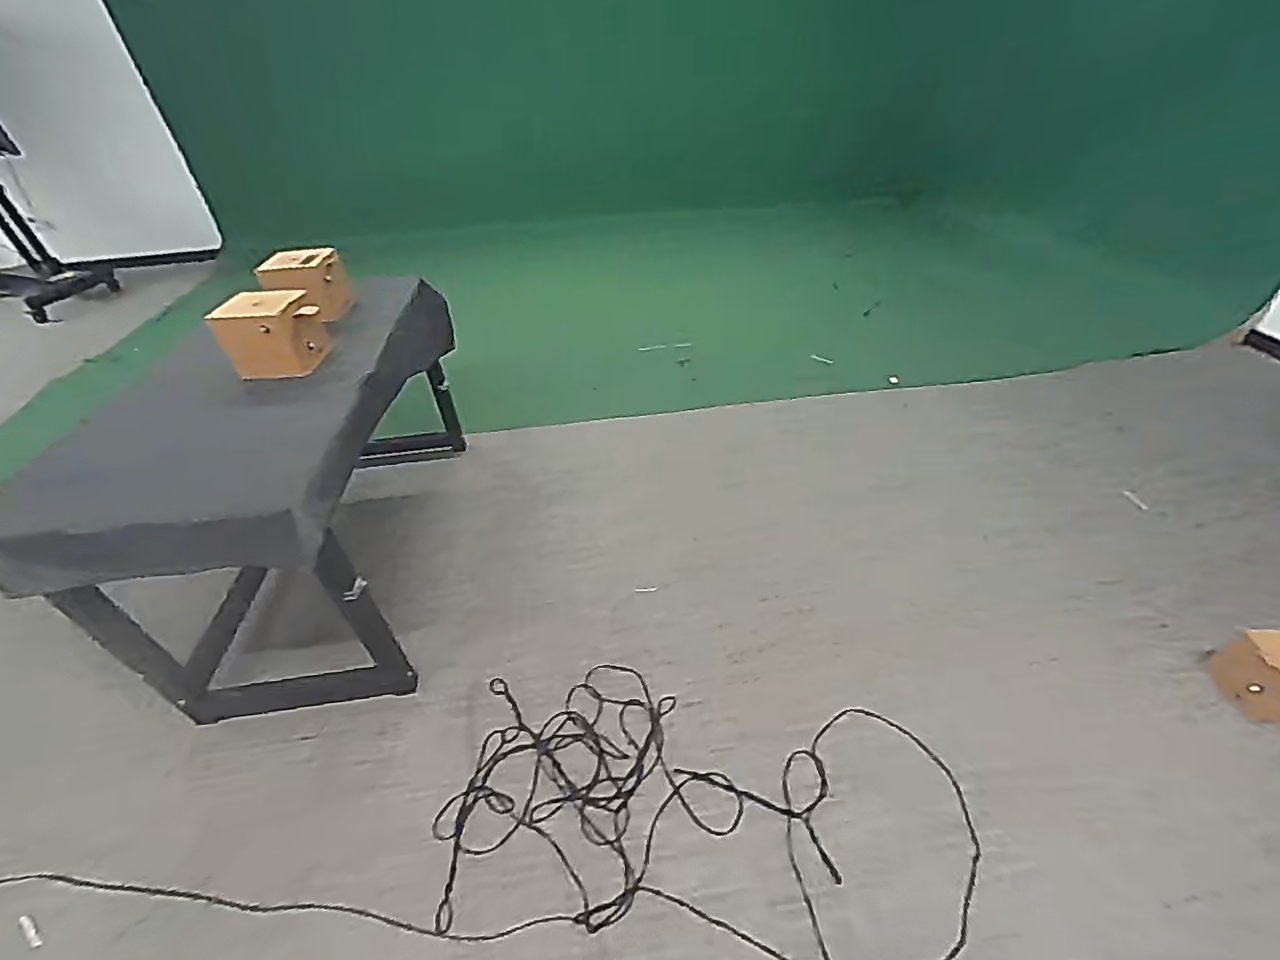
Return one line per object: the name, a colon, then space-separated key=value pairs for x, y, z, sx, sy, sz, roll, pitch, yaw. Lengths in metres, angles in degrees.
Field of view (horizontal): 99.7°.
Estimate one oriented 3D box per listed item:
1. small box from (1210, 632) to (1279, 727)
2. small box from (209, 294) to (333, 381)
small box: x=1.574 y=0.492 z=1.324 sx=0.179 sy=0.176 sz=0.168 roll=0 pitch=41 yaw=3
small box: x=-0.940 y=-0.366 z=1.395 sx=0.179 sy=0.176 sz=0.168 roll=-2 pitch=39 yaw=1
